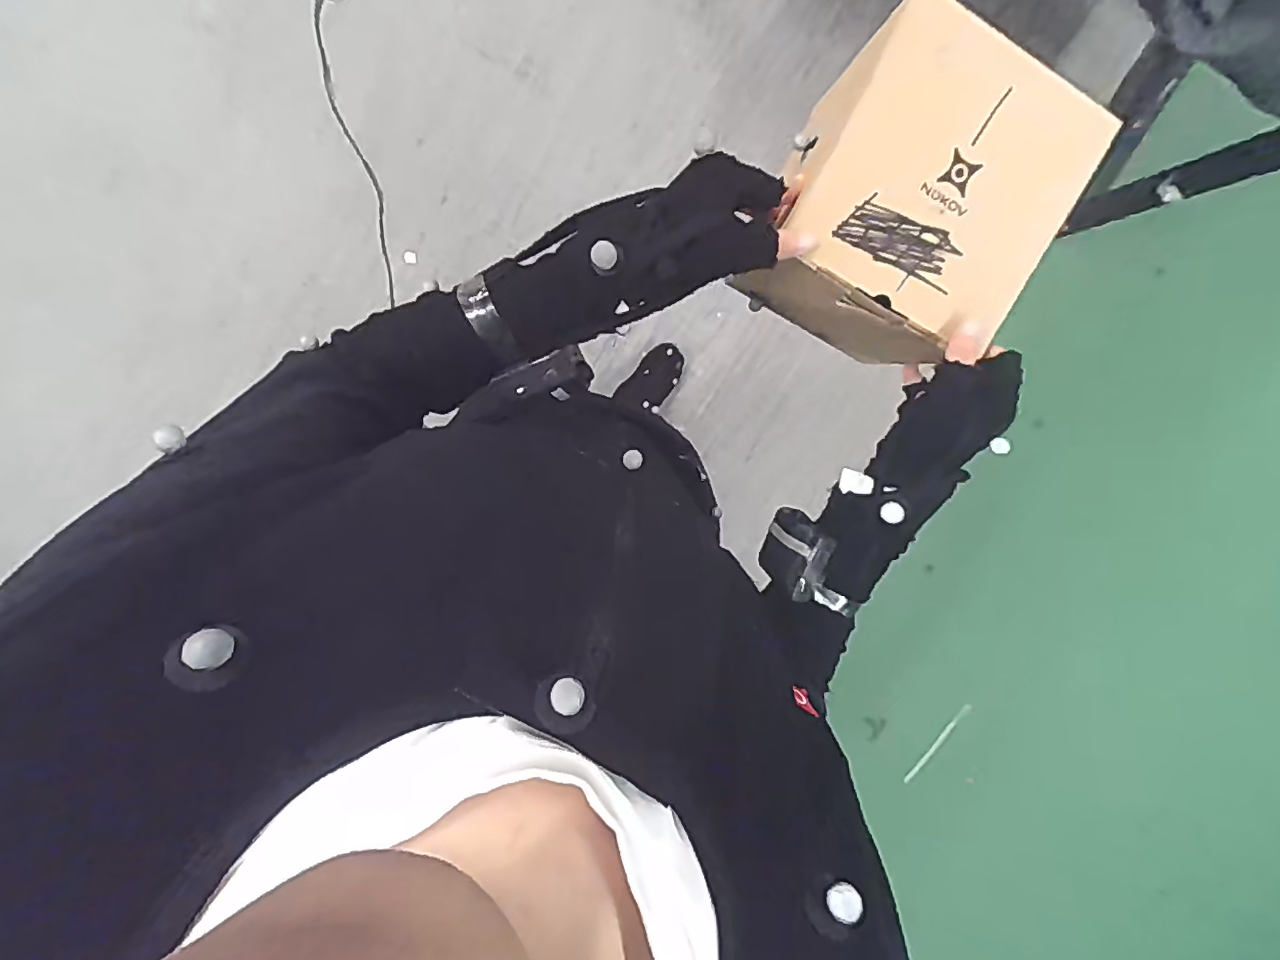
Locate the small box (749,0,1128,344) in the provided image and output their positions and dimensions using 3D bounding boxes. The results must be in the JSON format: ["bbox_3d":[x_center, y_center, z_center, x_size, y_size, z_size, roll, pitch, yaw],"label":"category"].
[{"bbox_3d":[0.206,-0.223,0.433,0.168,0.176,0.179,26,98,-9],"label":"small box"}]
